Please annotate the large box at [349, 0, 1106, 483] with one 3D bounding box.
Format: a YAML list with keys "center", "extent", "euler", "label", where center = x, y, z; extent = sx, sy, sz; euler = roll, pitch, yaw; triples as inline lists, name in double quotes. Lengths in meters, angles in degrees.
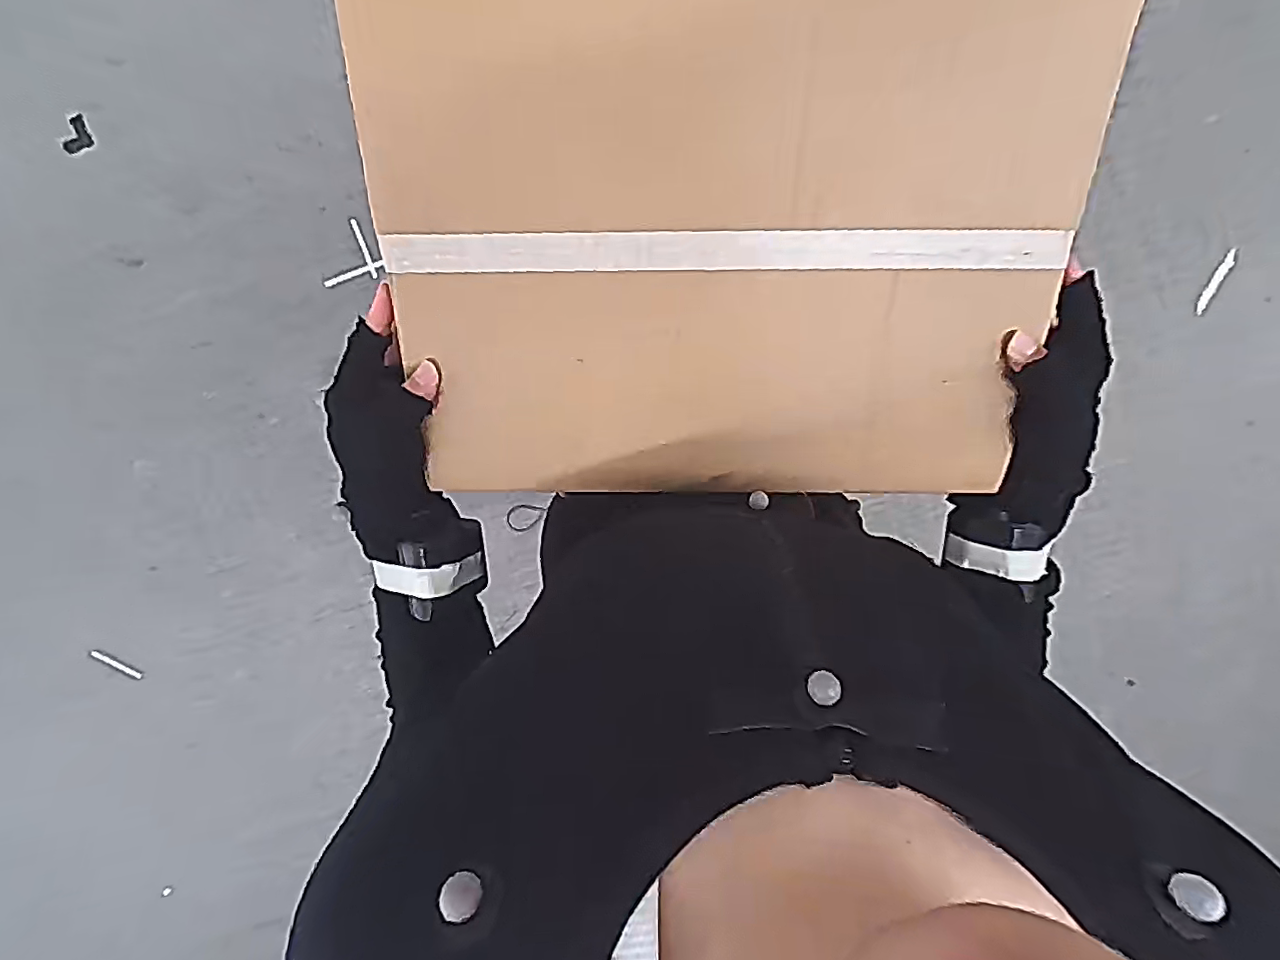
- center: [0.046, -0.200, 0.467]
  extent: [0.408, 0.320, 0.320]
  euler: [0, 115, 0]
  label: "large box"
